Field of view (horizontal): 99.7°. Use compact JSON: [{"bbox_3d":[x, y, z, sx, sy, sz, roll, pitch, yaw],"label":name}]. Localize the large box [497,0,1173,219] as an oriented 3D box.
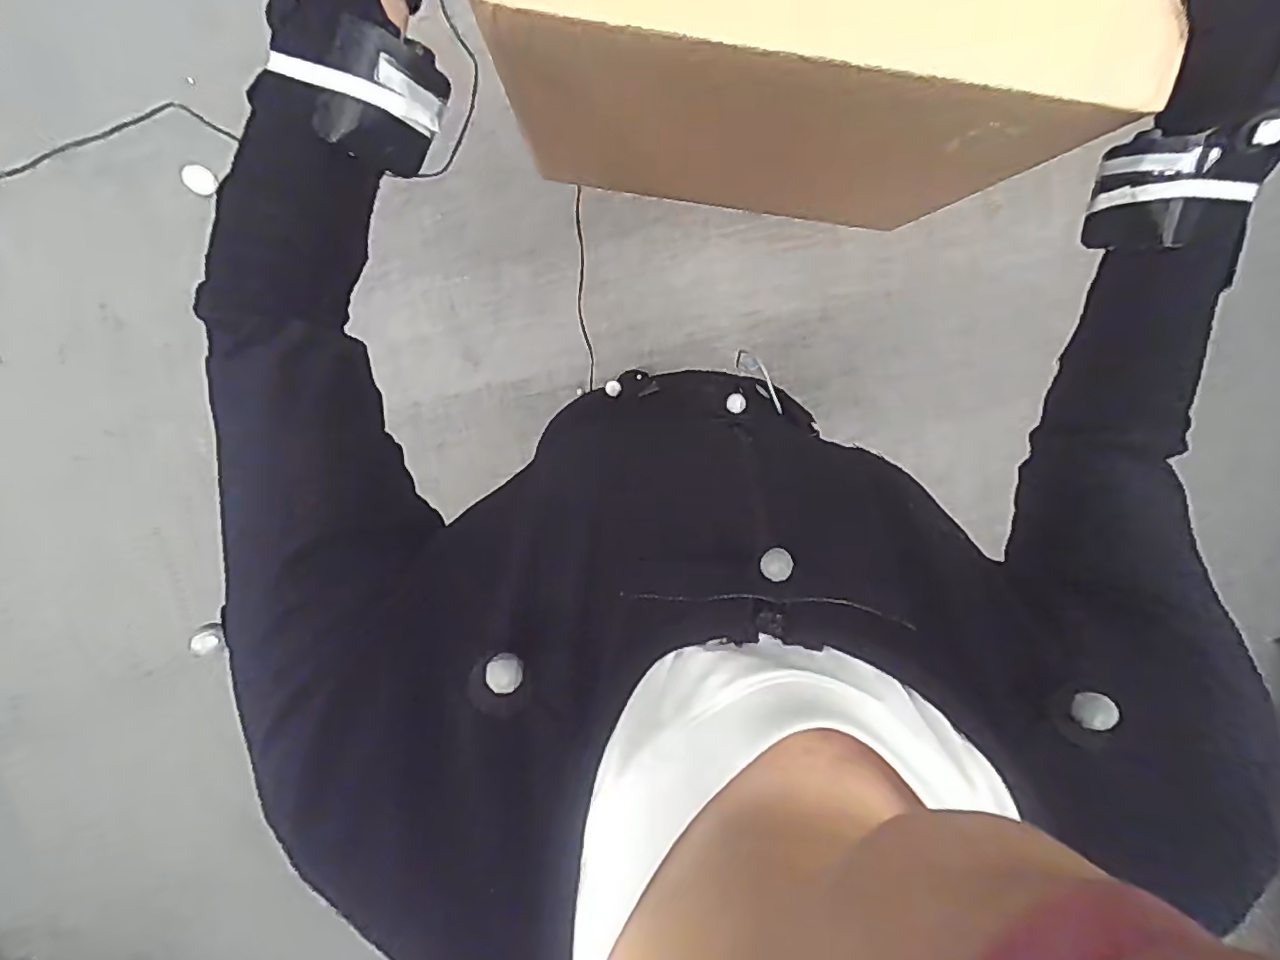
[{"bbox_3d":[0.115,-0.427,0.428,0.408,0.320,0.320,5,103,-5],"label":"large box"}]
